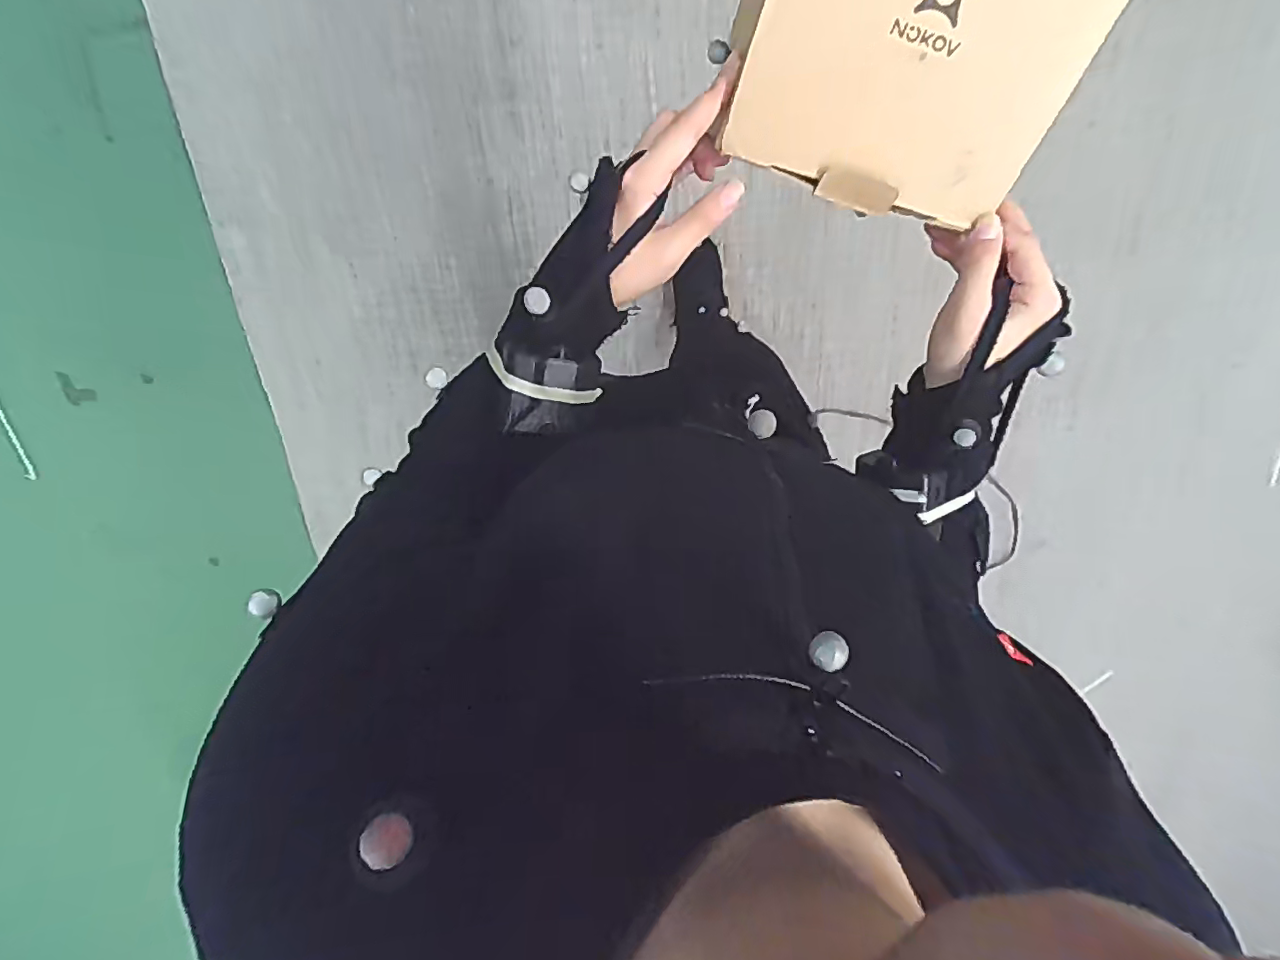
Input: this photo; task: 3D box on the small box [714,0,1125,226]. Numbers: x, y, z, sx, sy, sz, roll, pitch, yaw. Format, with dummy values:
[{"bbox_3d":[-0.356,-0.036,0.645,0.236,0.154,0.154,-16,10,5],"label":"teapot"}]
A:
[{"bbox_3d":[0.147,-0.280,0.317,0.168,0.176,0.179,13,127,-7],"label":"small box"}]
